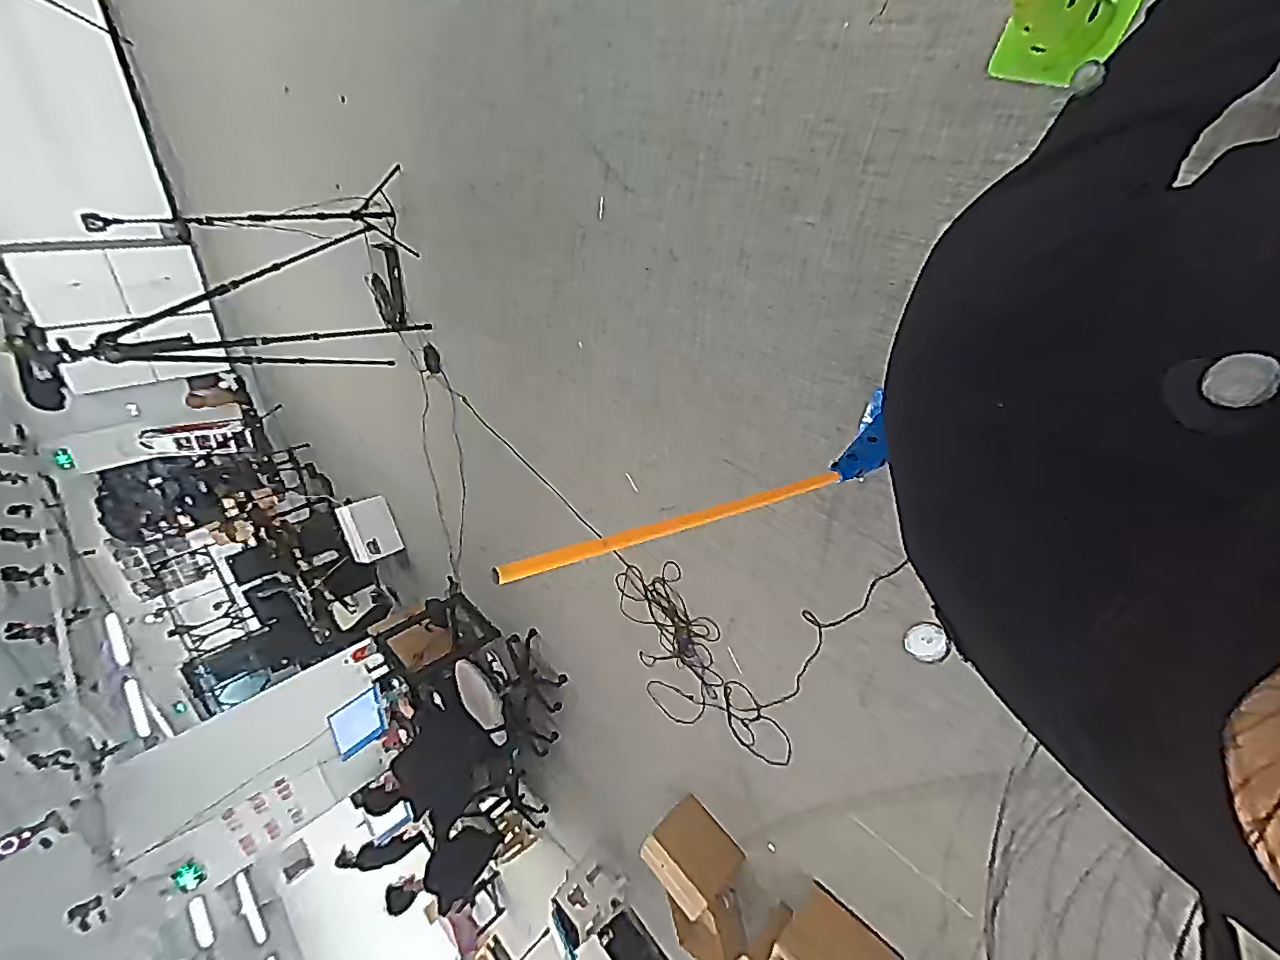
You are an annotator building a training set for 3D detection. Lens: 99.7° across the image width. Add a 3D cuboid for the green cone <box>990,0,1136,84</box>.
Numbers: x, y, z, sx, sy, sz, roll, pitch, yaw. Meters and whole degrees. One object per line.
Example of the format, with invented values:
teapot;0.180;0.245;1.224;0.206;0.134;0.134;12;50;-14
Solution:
green cone;0.675;-0.816;0.900;0.202;0.368;0.200;37;133;31
